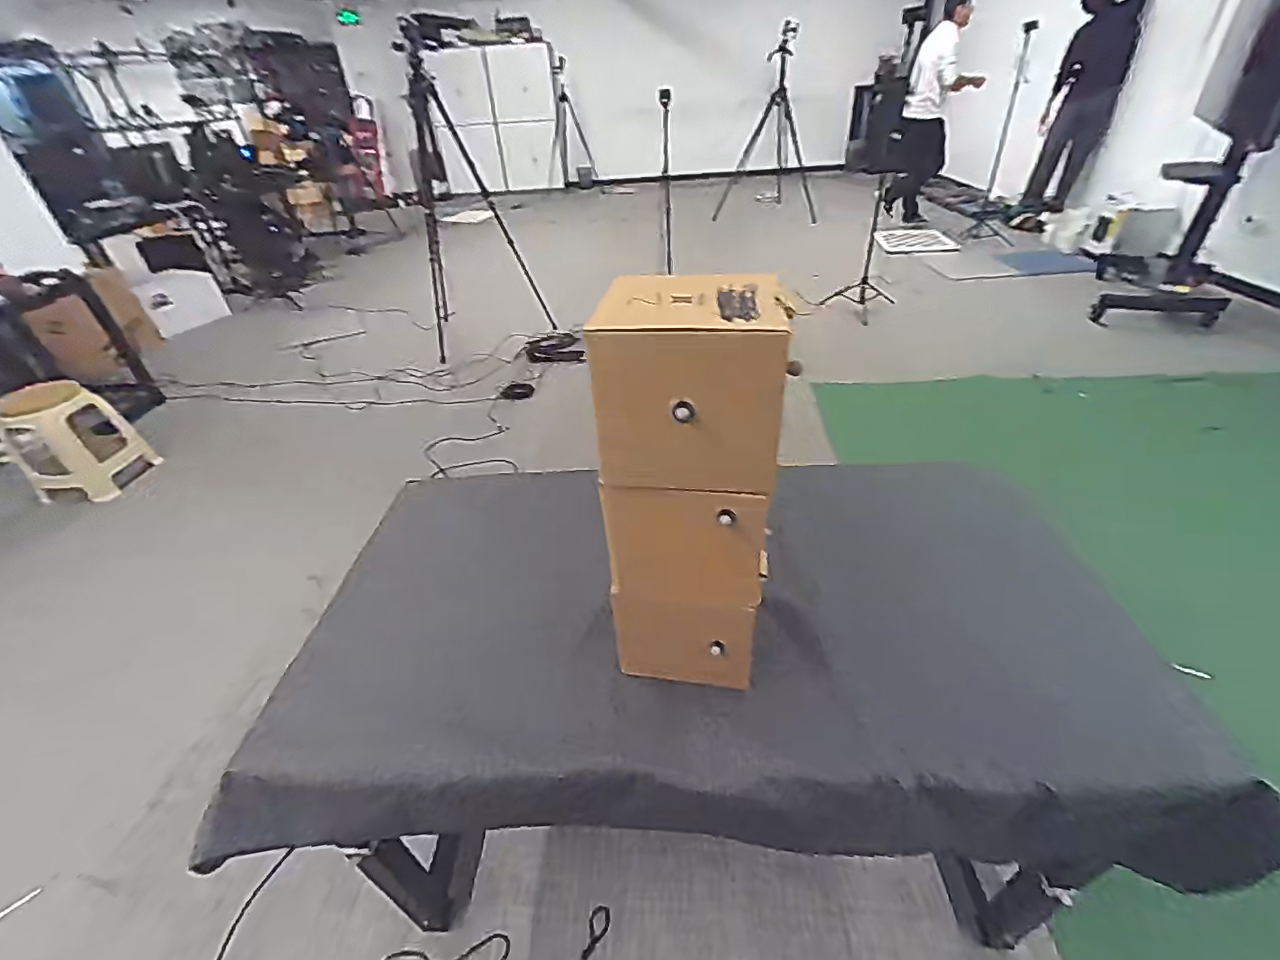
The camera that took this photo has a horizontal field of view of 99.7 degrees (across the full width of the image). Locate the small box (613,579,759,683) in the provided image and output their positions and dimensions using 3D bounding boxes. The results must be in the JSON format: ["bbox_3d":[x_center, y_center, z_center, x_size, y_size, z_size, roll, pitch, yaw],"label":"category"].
[{"bbox_3d":[0.071,0.158,0.751,0.179,0.176,0.168,3,36,11],"label":"small box"}]

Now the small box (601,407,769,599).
[{"bbox_3d":[0.062,0.025,0.659,0.179,0.176,0.168,4,37,10],"label":"small box"}]
